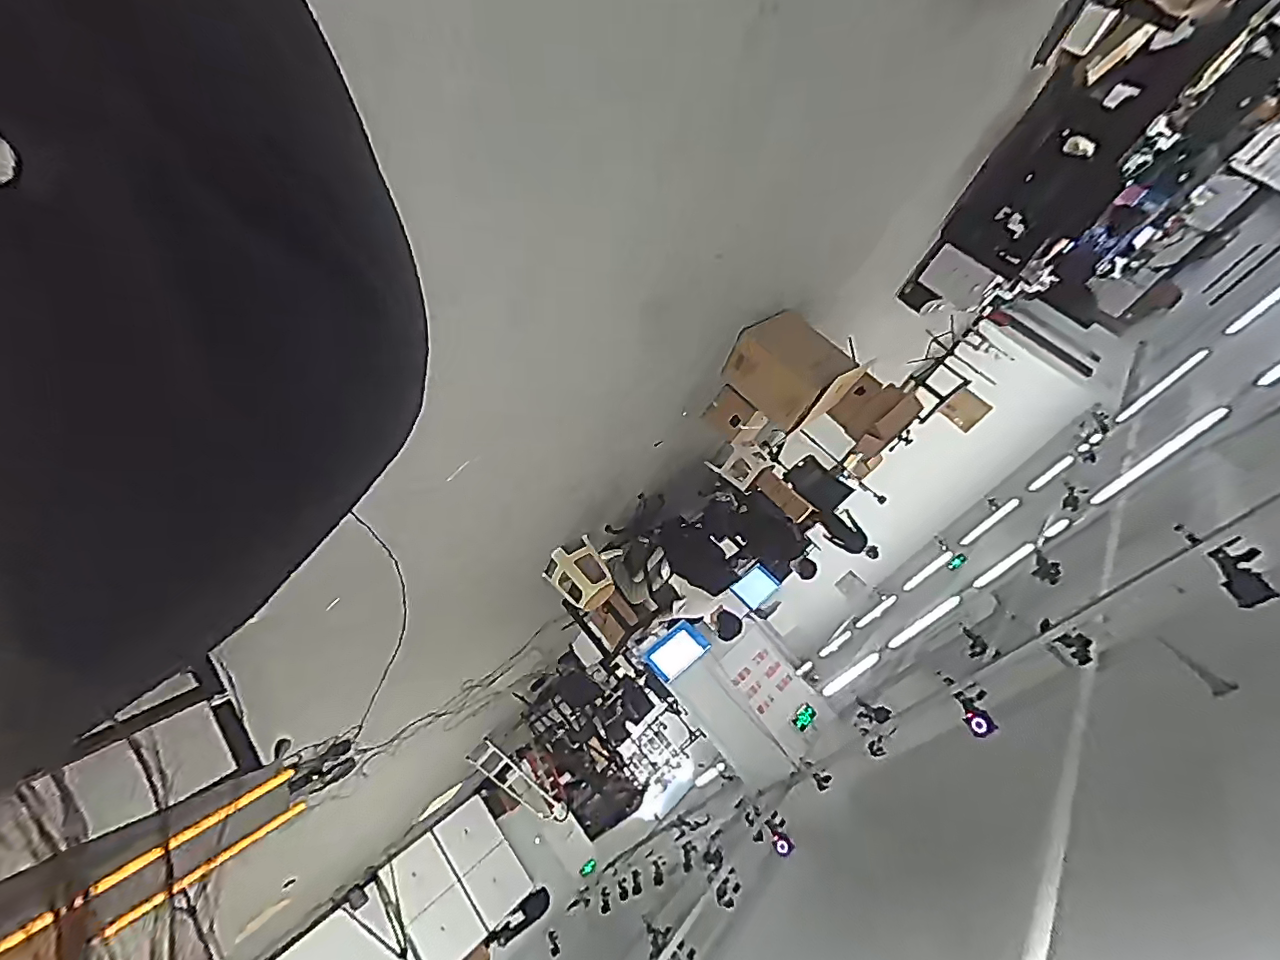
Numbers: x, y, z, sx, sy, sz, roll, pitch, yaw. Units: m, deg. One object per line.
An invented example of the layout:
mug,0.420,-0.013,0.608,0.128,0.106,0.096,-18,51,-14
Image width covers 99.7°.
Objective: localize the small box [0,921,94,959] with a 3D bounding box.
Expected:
small box,-1.509,1.260,1.359,0.168,0.176,0.179,-25,154,-44
